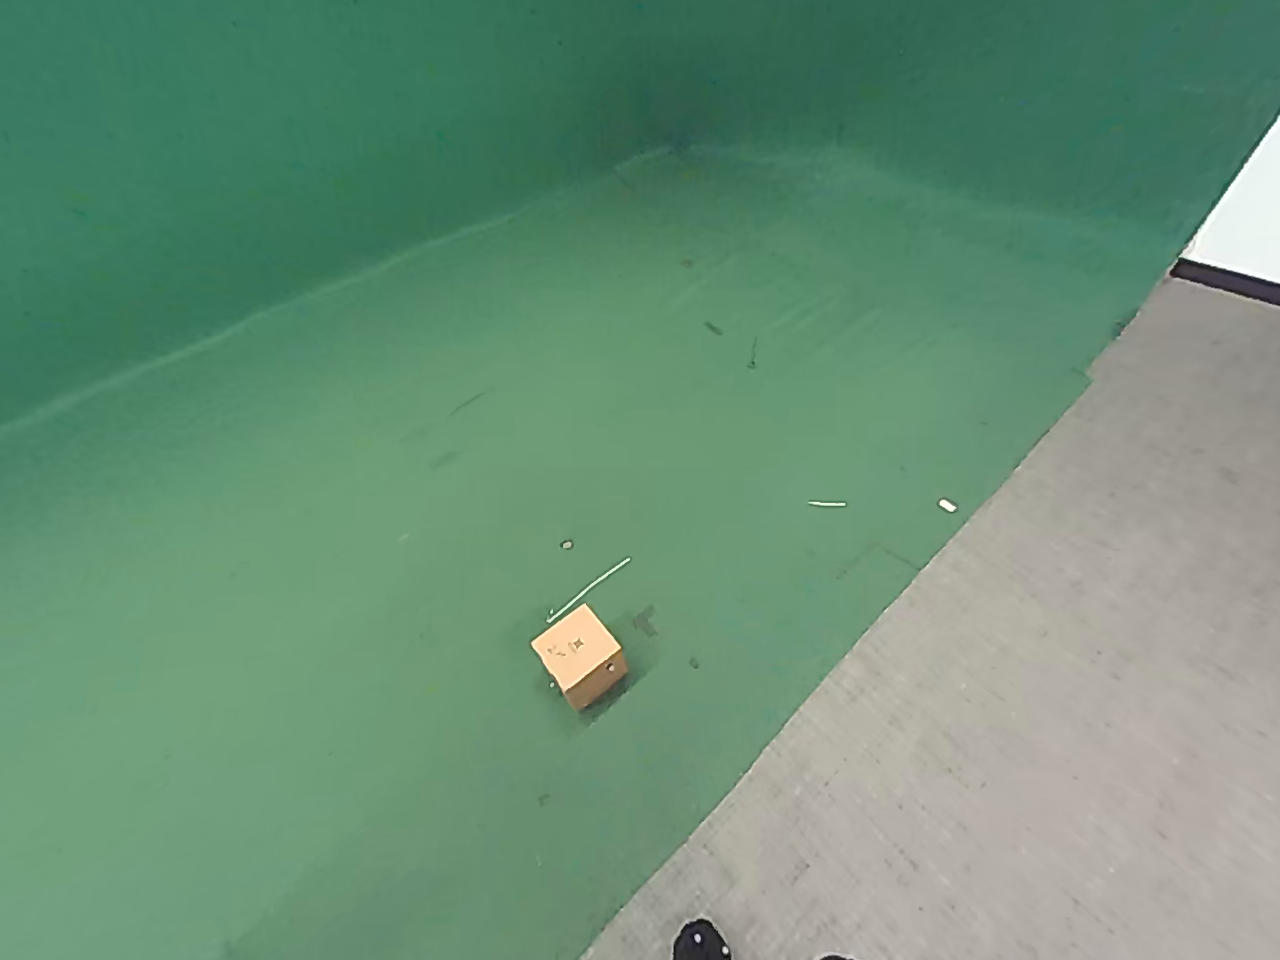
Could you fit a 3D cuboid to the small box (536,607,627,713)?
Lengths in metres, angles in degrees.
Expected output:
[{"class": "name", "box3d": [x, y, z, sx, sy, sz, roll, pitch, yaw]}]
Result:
[{"class": "small box", "box3d": [-0.147, 0.478, 1.434, 0.179, 0.176, 0.168, -34, 54, -20]}]
